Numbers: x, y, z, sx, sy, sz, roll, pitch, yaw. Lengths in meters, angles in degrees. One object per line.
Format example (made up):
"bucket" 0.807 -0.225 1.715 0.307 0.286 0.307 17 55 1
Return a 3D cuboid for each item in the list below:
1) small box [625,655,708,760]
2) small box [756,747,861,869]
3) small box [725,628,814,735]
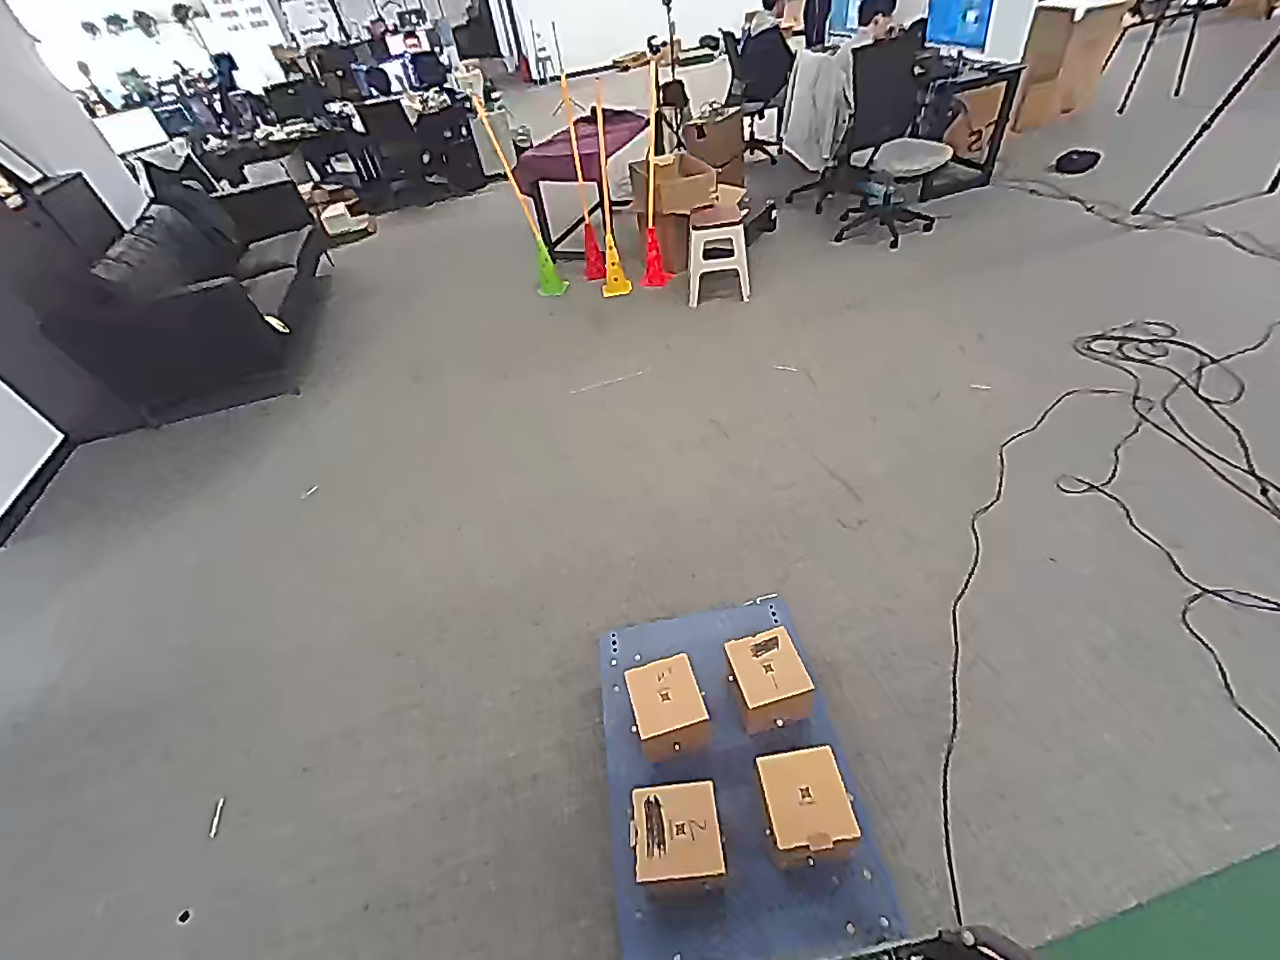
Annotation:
"small box" 0.069 0.575 1.352 0.168 0.176 0.179 -15 44 -6
"small box" 0.352 0.709 1.168 0.168 0.176 0.179 -10 45 0
"small box" 0.320 0.512 1.372 0.168 0.176 0.179 -15 45 -5
